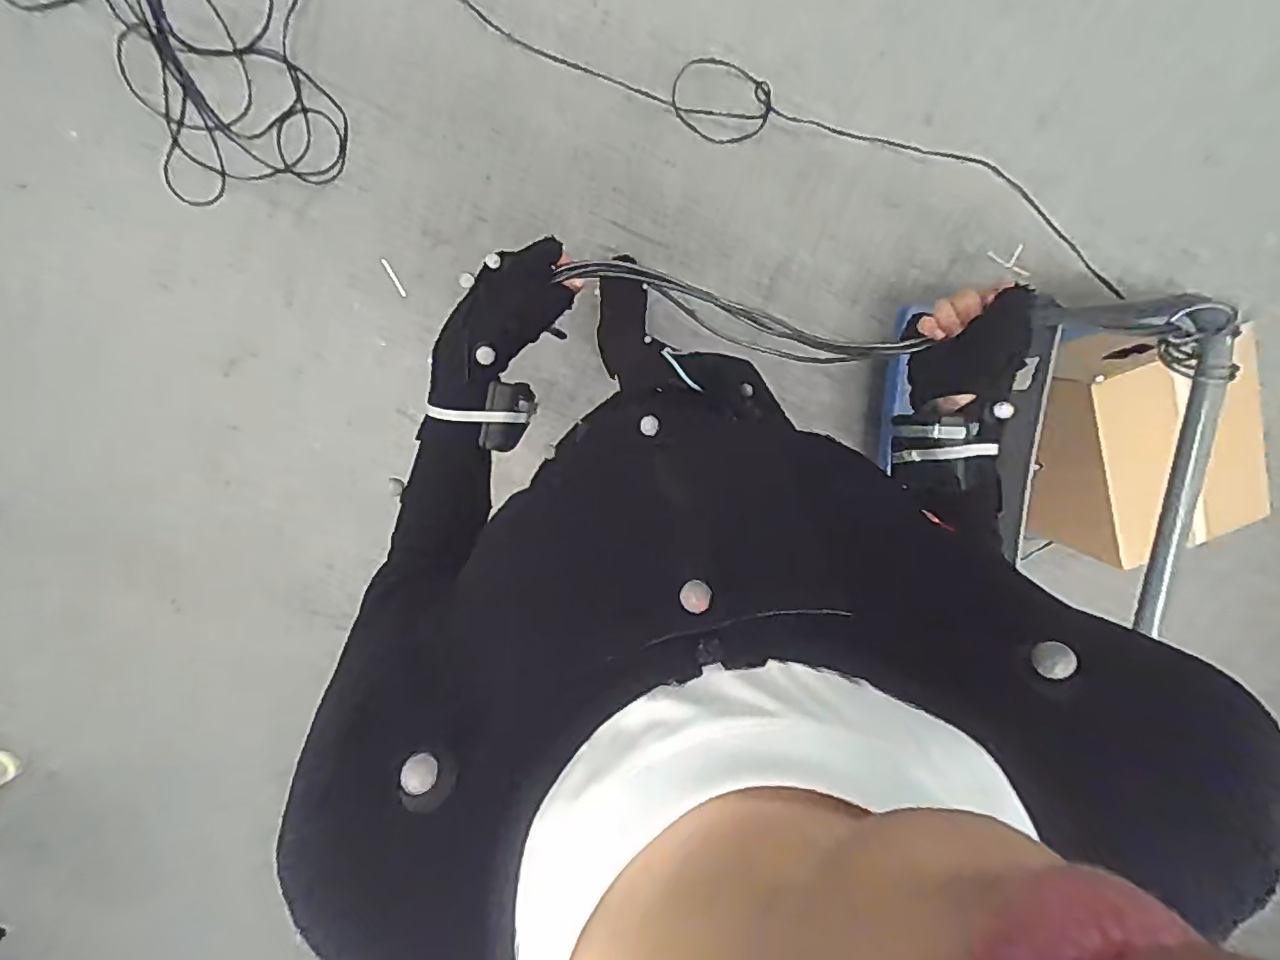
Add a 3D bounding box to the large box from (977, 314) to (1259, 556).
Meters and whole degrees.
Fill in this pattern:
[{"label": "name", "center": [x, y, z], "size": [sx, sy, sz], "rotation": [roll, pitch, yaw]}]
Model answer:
[{"label": "large box", "center": [1.023, -0.109, 1.193], "size": [0.320, 0.320, 0.408], "rotation": [-22, 103, 1]}]
